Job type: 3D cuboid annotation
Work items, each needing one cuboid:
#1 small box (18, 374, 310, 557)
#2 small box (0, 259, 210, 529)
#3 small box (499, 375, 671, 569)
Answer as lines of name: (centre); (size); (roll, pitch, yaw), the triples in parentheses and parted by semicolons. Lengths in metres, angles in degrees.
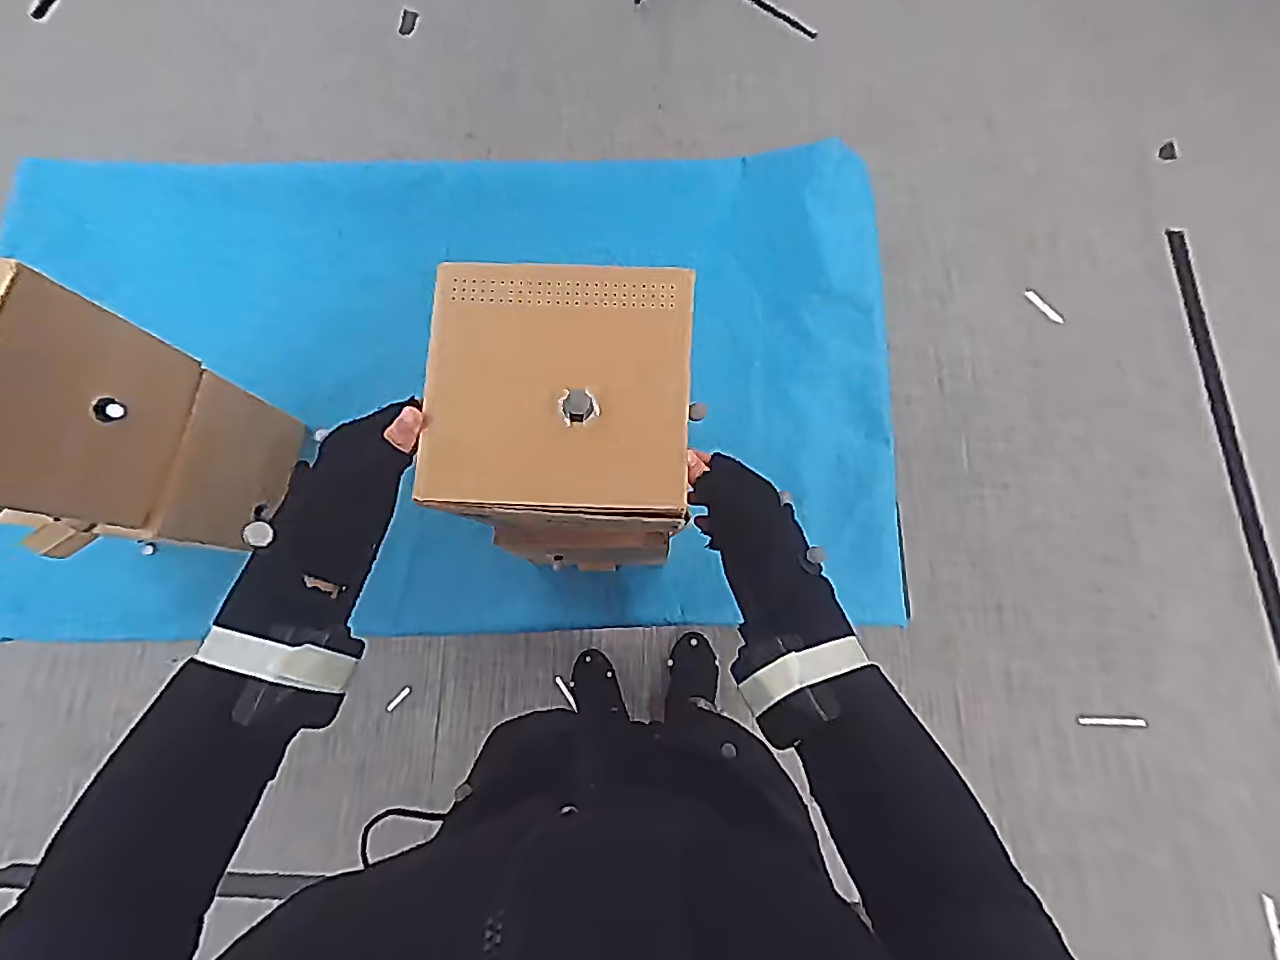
small box: (-0.522, -0.014, 0.614); (0.168, 0.176, 0.179); (5, 76, 2)
small box: (-0.531, -0.065, 0.457); (0.168, 0.176, 0.179); (9, 78, 3)
small box: (-0.052, 0.001, 0.602); (0.168, 0.176, 0.179); (0, 74, 1)
